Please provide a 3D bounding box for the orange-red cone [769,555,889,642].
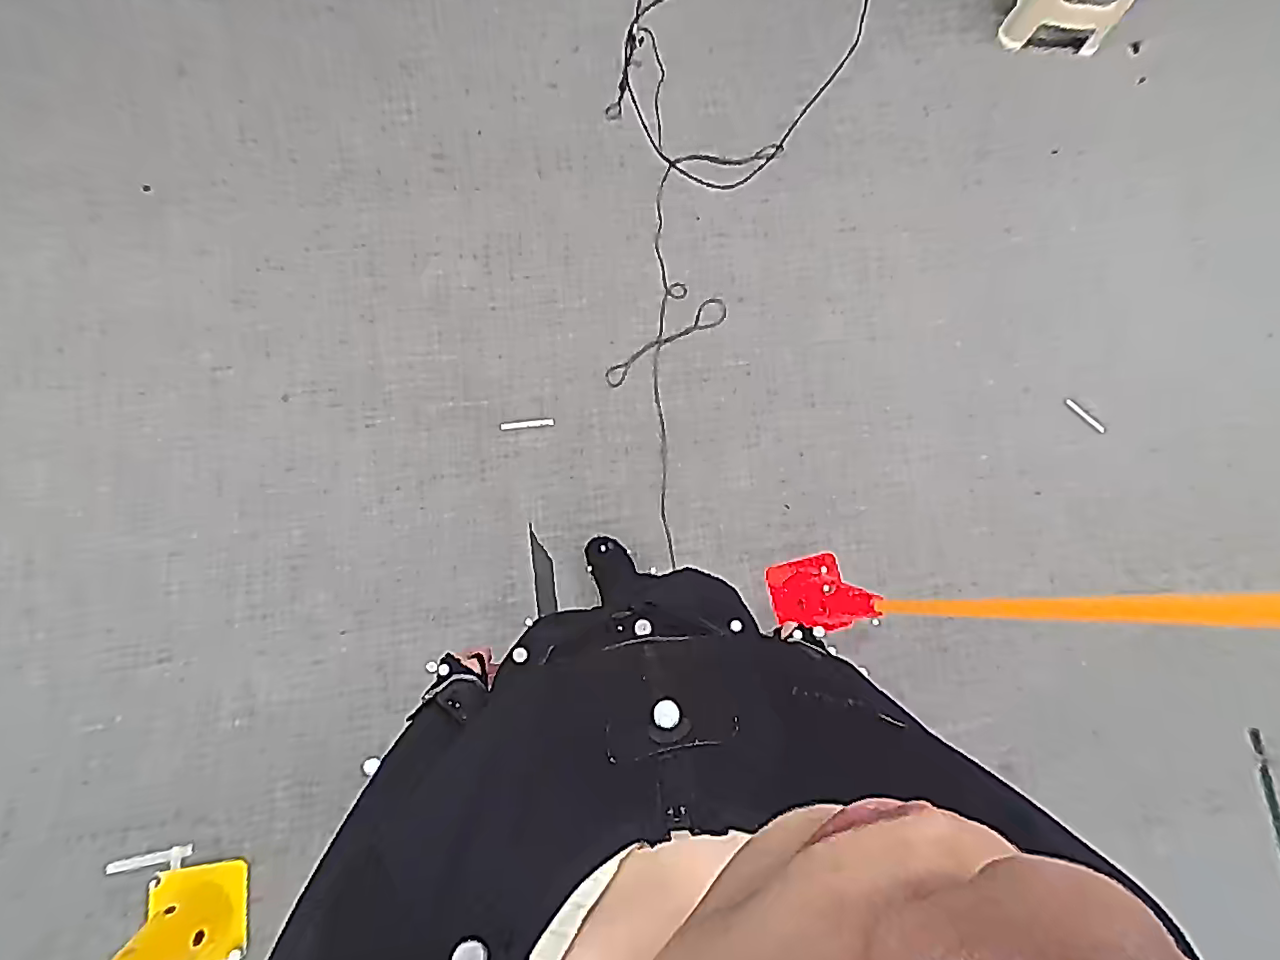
[{"bbox_3d":[0.458,0.276,1.231,0.199,0.360,0.198,-12,81,-6],"label":"orange-red cone"}]
